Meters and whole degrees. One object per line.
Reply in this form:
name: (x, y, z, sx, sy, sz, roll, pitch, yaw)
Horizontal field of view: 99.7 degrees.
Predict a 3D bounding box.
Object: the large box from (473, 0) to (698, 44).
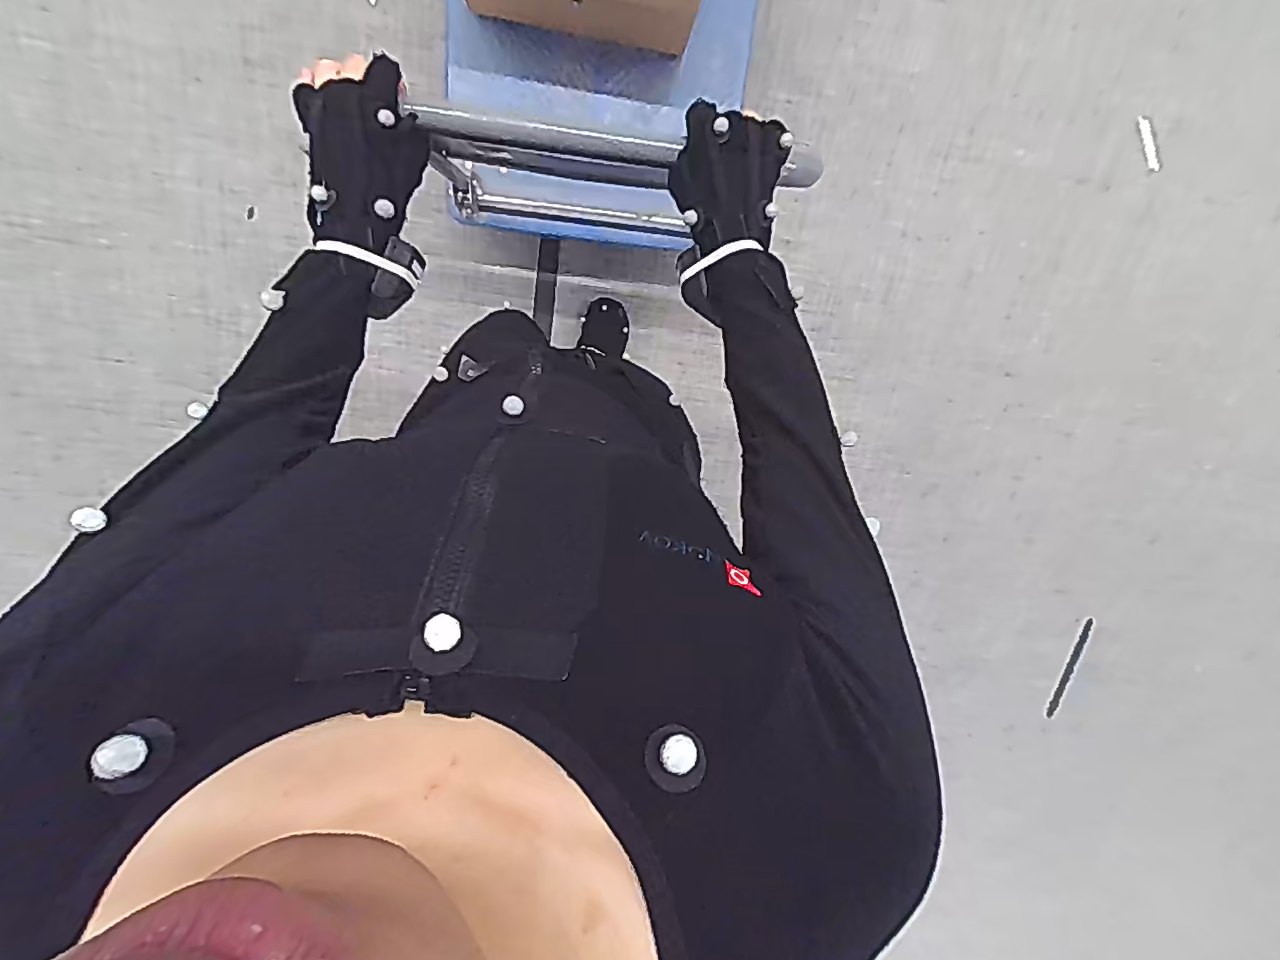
large box: (-0.085, -0.950, 0.843, 0.408, 0.320, 0.320, 7, 108, -5)
